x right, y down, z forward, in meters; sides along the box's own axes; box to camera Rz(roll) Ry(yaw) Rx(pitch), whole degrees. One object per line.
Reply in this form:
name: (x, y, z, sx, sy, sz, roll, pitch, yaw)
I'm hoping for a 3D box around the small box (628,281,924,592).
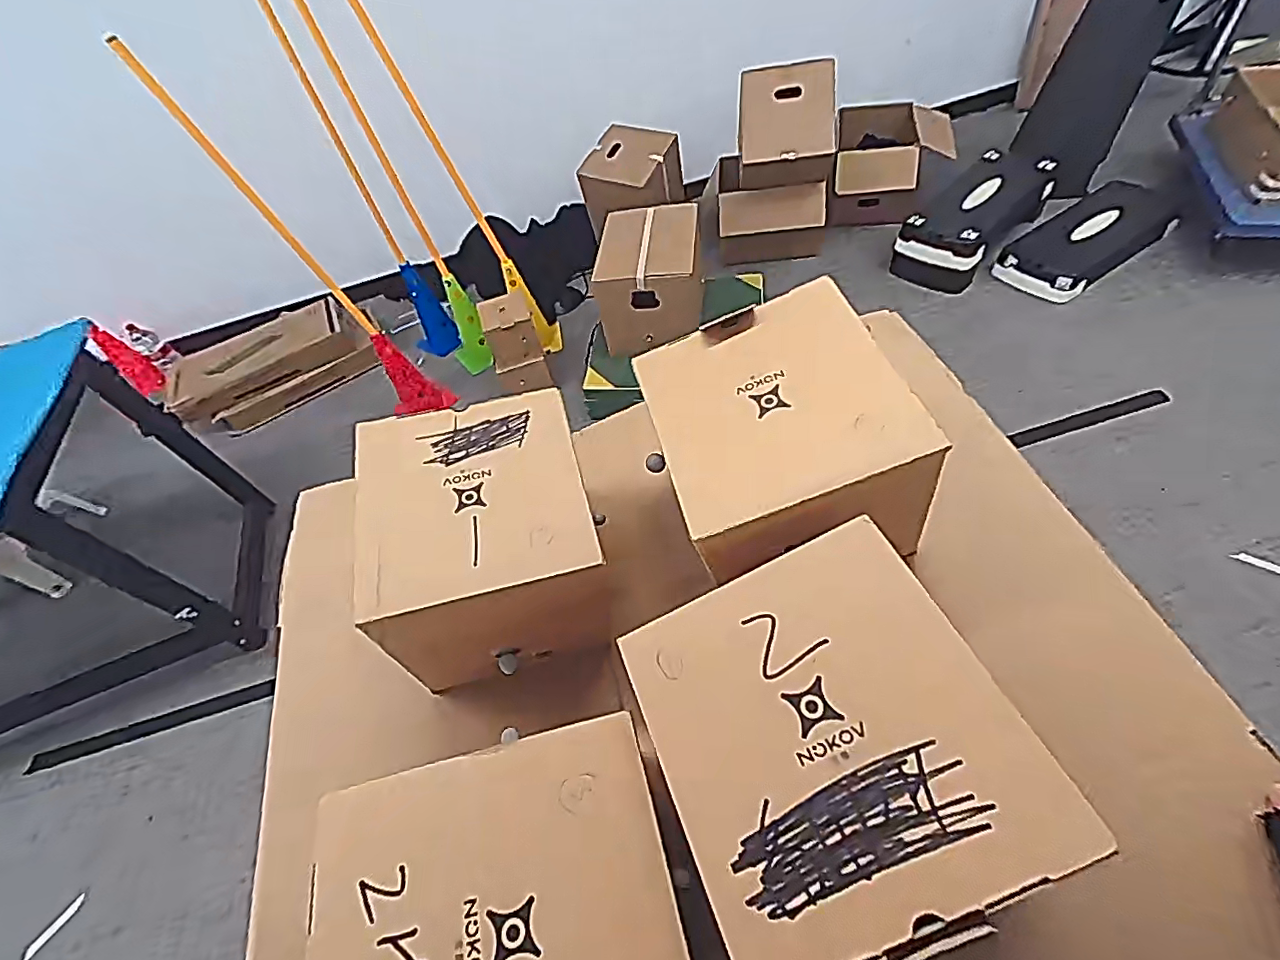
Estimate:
small box: (0.109, -0.022, 0.454, 0.168, 0.176, 0.179, -22, 54, 7)
